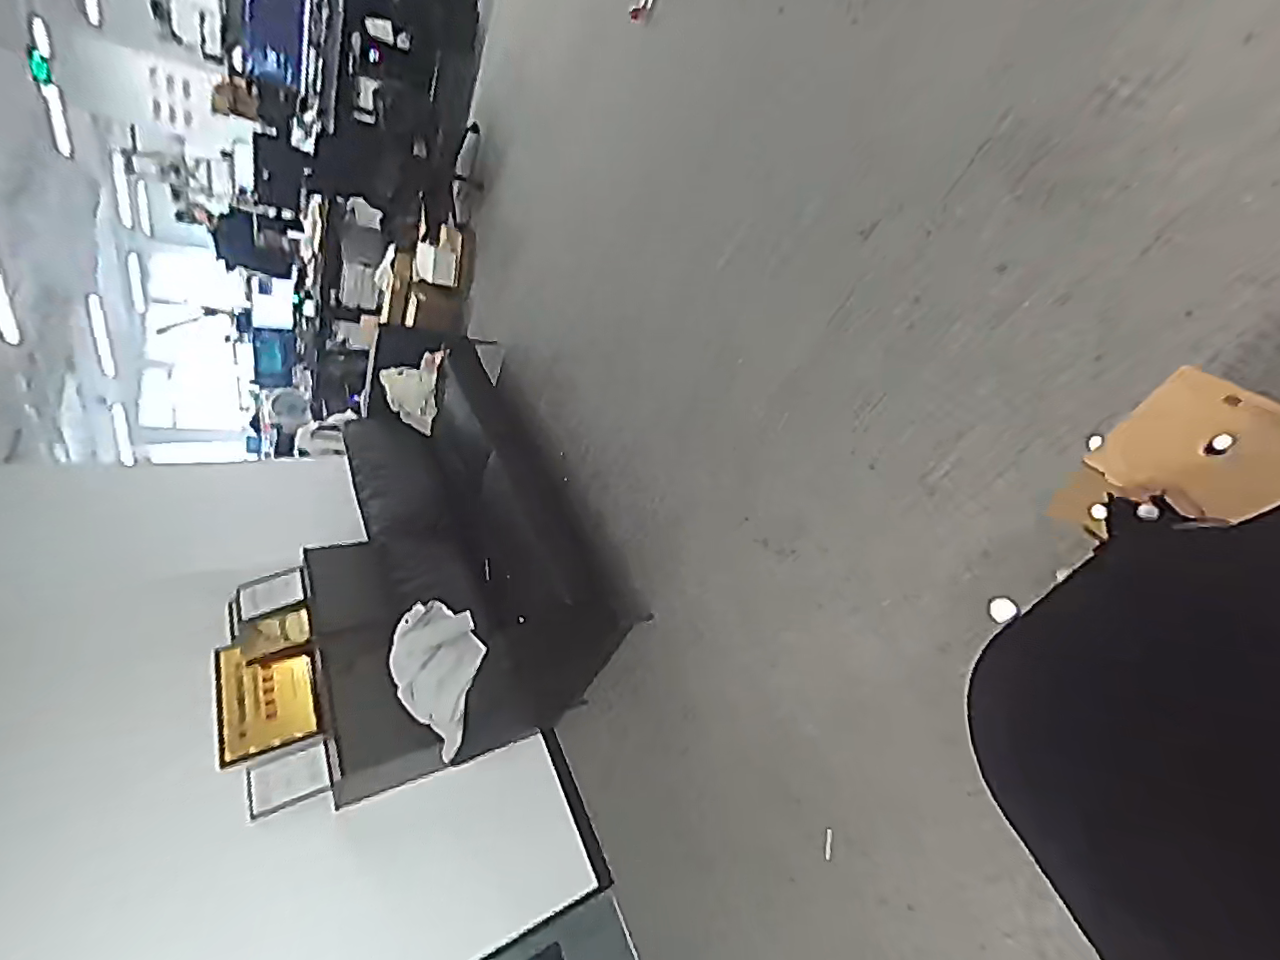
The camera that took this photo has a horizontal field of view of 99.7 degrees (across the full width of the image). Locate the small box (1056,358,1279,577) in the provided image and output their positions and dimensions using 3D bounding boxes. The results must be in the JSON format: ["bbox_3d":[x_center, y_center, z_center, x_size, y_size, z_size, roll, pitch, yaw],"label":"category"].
[{"bbox_3d":[0.667,-0.014,0.656,0.176,0.179,0.168,-43,57,1],"label":"small box"}]
